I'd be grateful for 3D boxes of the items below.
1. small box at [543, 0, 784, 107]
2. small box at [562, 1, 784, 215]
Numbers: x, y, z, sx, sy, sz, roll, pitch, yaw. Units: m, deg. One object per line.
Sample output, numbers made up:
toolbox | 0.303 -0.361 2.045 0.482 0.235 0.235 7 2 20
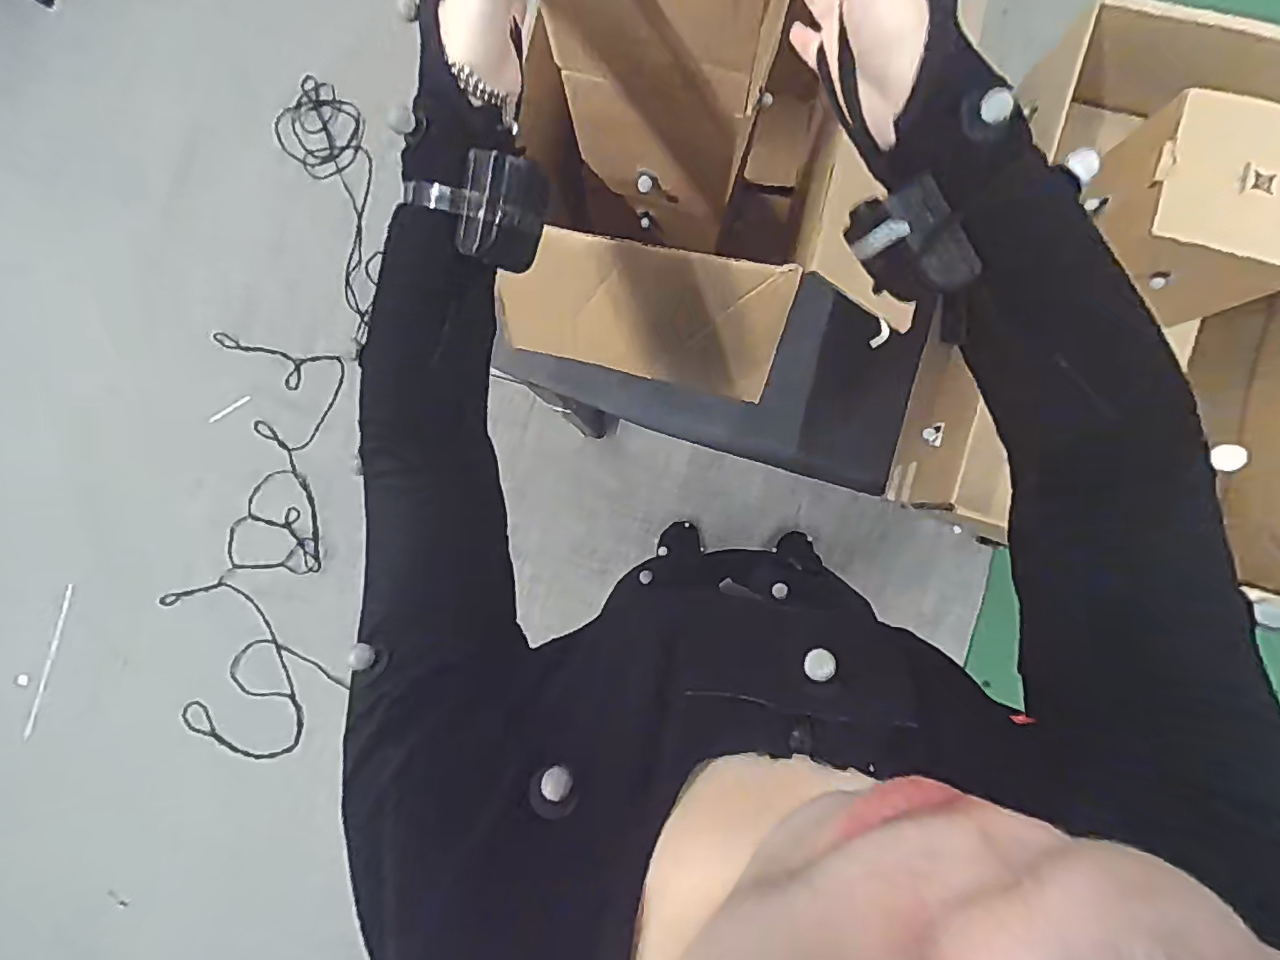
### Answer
small box | 0.027 -0.414 0.386 0.179 0.176 0.168 19 89 3
small box | 0.037 -0.410 0.547 0.168 0.176 0.179 18 90 3
